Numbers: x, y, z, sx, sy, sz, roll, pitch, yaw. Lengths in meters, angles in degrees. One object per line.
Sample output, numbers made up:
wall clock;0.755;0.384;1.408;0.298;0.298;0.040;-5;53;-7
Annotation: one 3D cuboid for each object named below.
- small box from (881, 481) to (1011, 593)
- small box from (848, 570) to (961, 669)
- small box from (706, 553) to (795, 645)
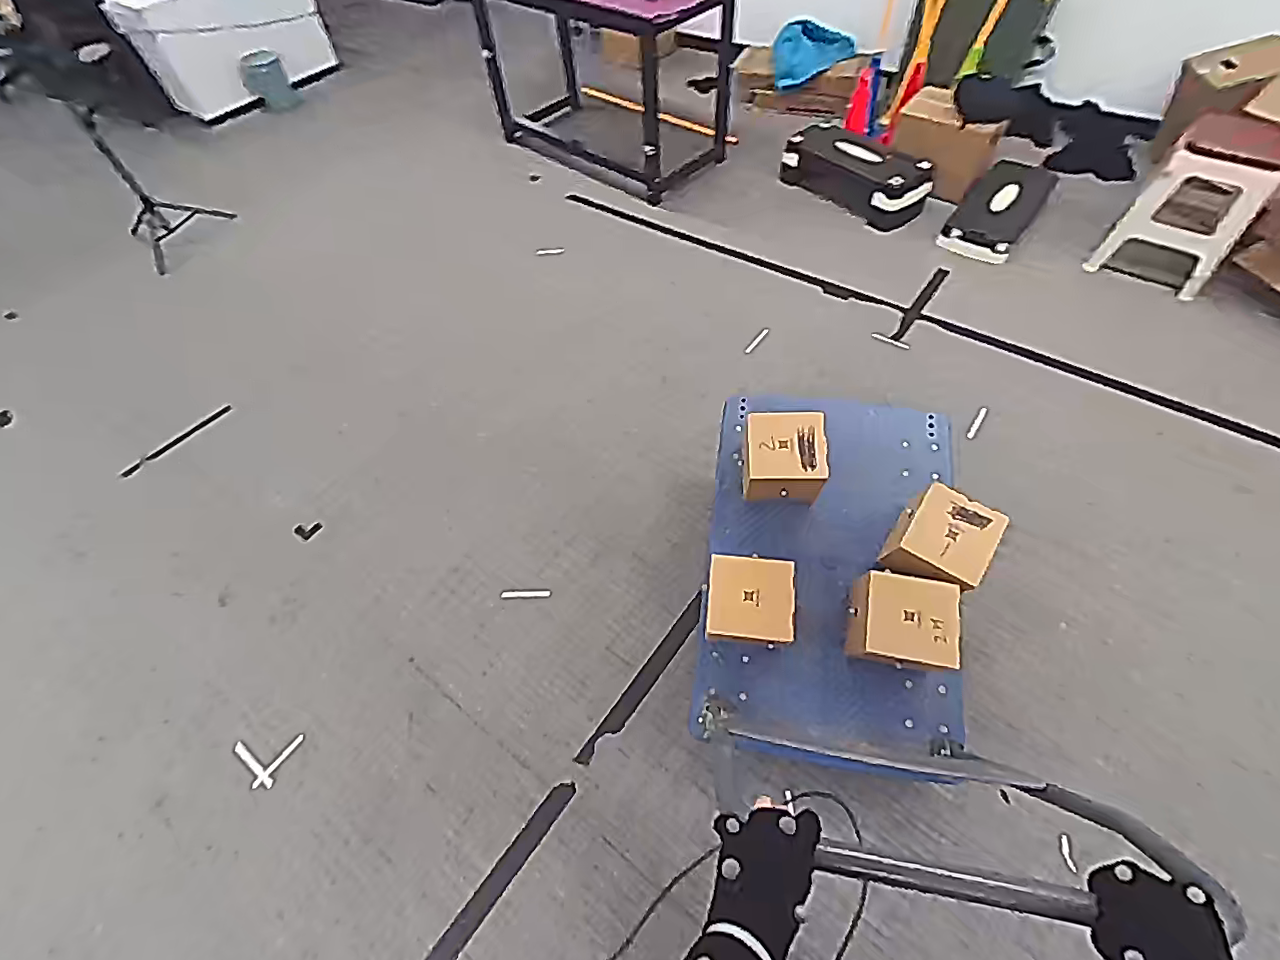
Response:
small box;0.662;0.135;1.193;0.168;0.176;0.179;31;77;16
small box;0.550;0.300;1.142;0.179;0.176;0.168;9;71;10
small box;0.238;0.267;1.190;0.179;0.176;0.168;4;70;6
